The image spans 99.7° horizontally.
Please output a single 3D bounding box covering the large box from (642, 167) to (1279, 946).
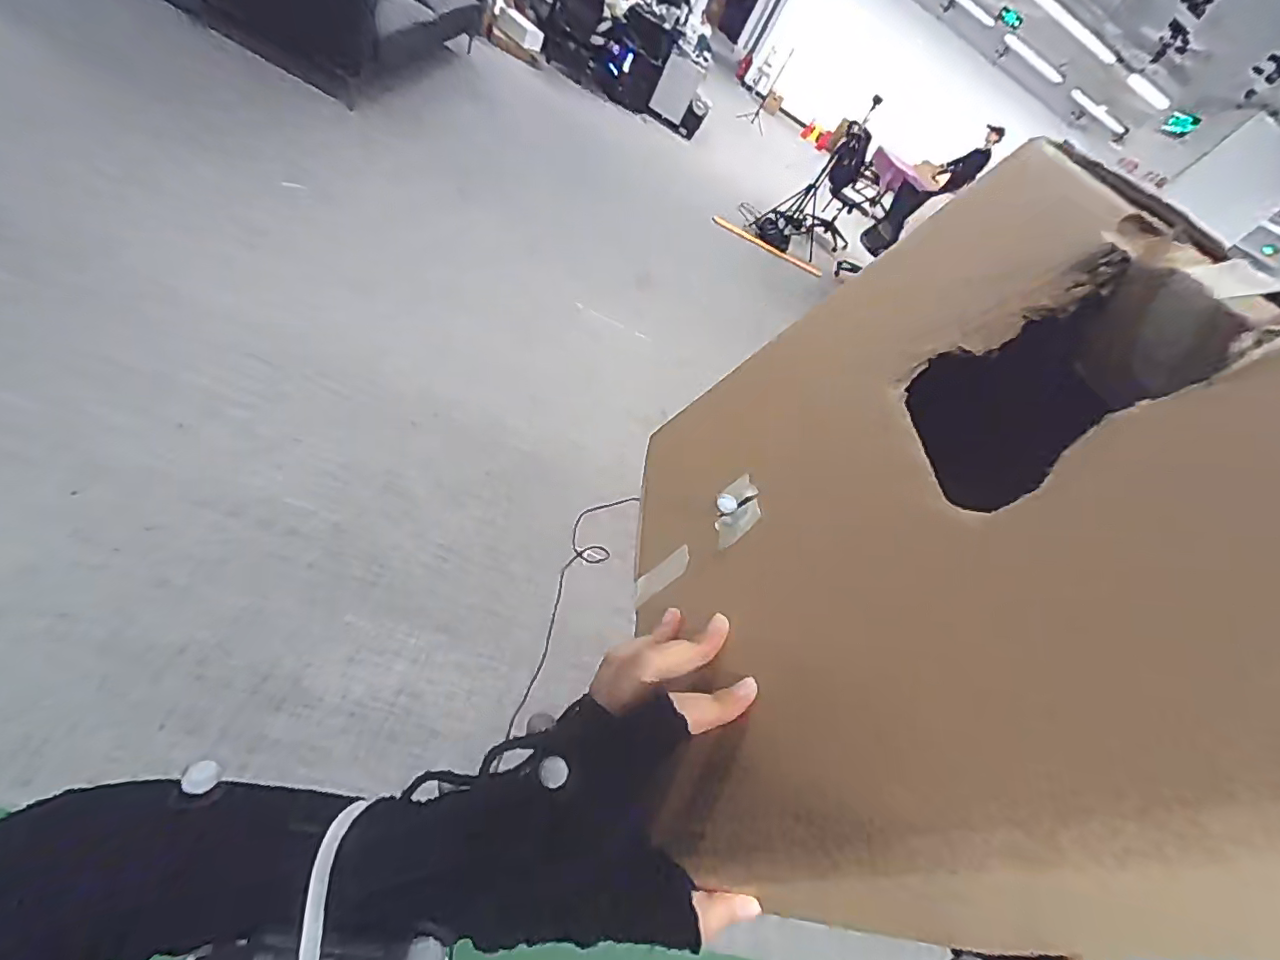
[{"bbox_3d":[0.248,0.103,0.368,0.408,0.320,0.320,34,41,-28],"label":"large box"}]
